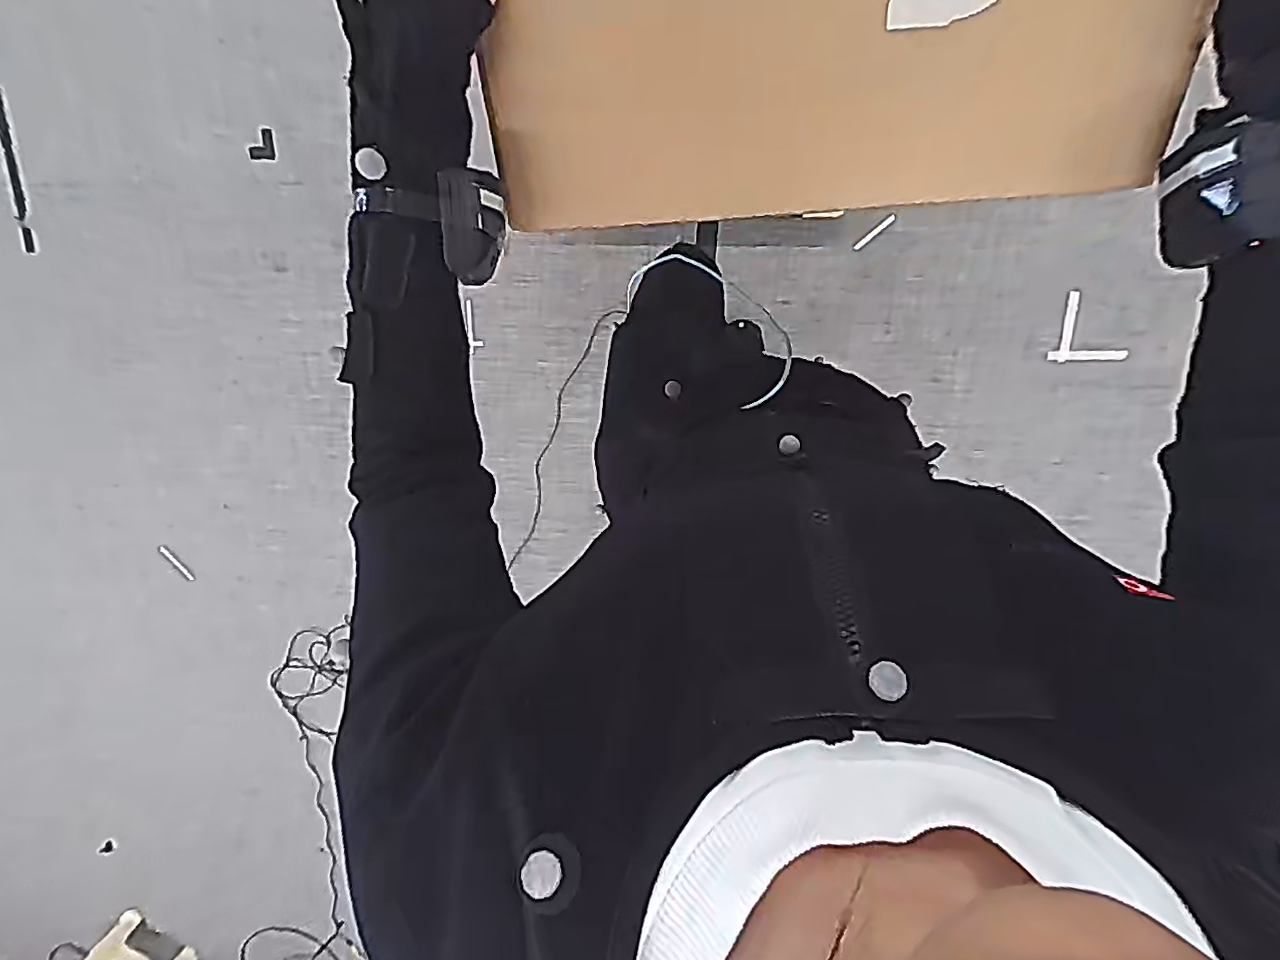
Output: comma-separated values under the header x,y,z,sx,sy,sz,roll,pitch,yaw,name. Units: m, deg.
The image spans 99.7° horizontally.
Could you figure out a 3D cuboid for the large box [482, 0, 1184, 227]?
x,y,z,sx,sy,sz,roll,pitch,yaw,name
0.113,-0.396,0.418,0.408,0.320,0.320,0,121,9,large box
